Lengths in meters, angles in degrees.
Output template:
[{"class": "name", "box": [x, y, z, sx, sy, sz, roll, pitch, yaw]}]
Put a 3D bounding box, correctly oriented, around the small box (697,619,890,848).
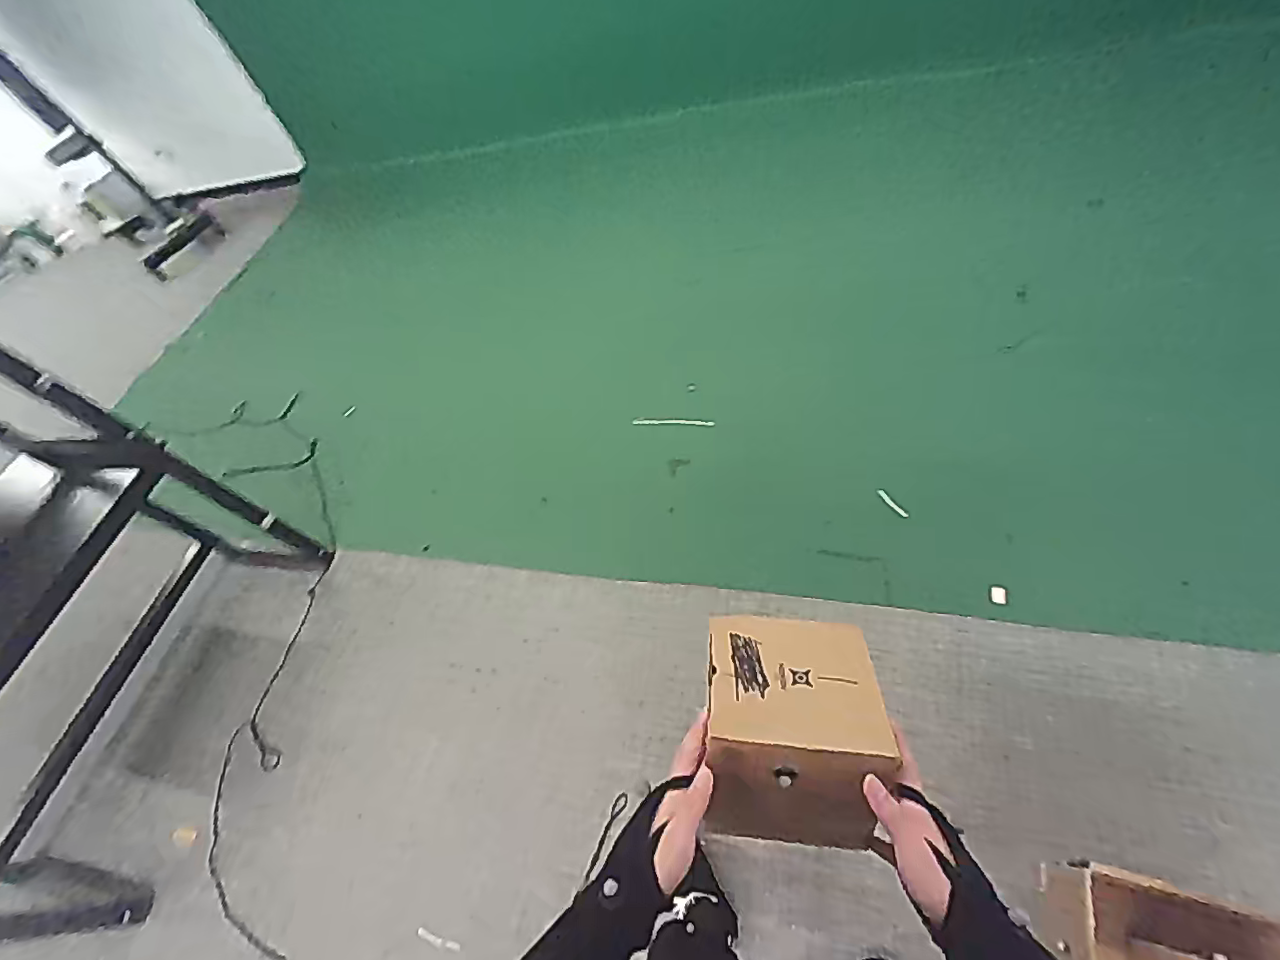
[{"class": "small box", "box": [0.155, 0.280, 0.607, 0.179, 0.176, 0.168, 3, 31, 7]}]
